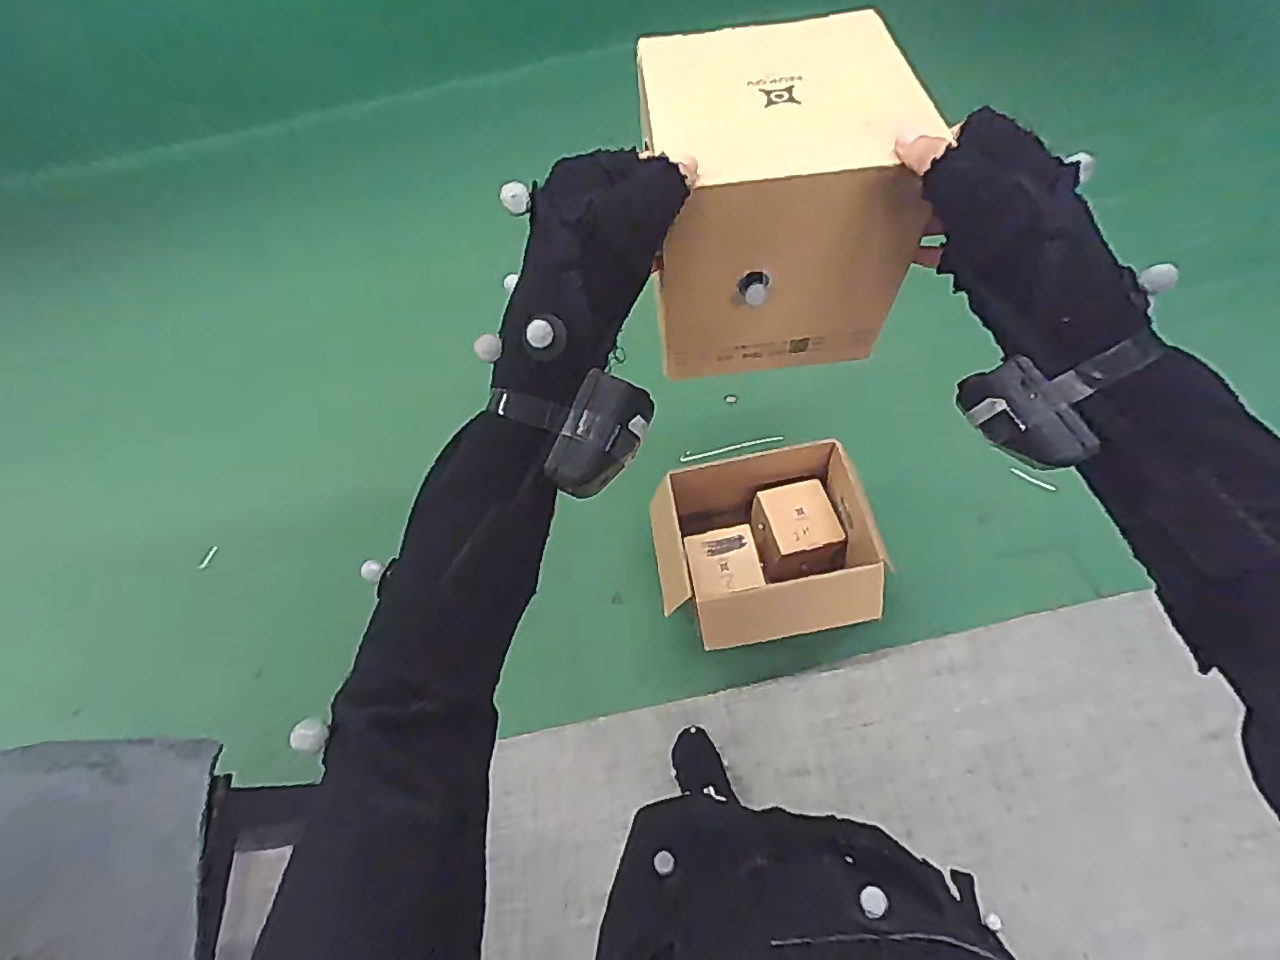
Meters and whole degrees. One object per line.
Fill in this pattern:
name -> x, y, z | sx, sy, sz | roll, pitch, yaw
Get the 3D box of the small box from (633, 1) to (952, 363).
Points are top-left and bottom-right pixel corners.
small box -> 0.088, -0.202, 0.399 | 0.168, 0.176, 0.179 | -6, 60, 2
